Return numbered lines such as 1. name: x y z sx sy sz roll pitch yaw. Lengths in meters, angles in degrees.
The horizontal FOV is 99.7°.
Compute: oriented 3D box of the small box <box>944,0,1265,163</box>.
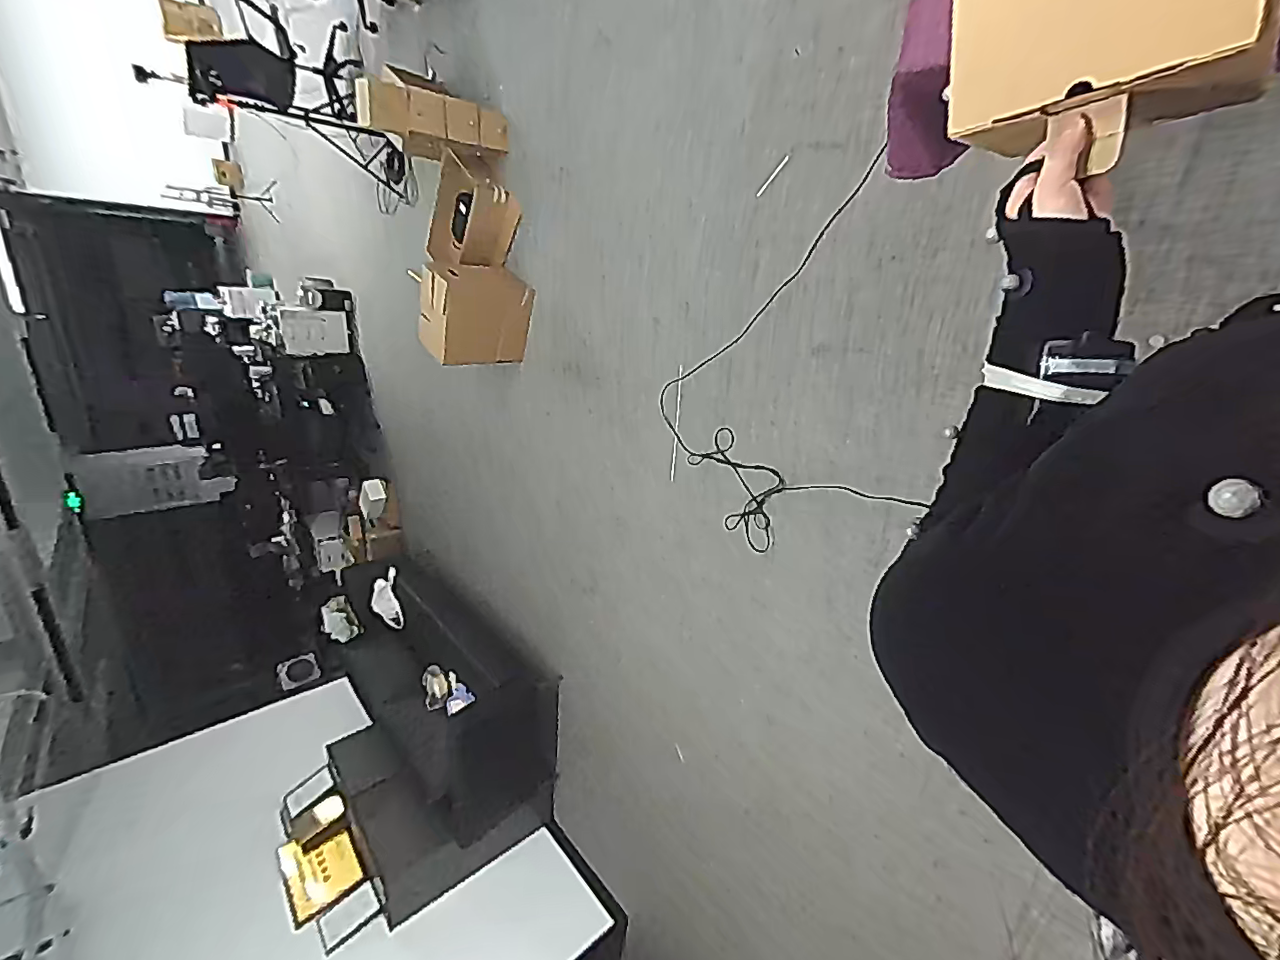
1. small box: 0.352 -0.364 0.409 0.168 0.176 0.179 11 114 46
